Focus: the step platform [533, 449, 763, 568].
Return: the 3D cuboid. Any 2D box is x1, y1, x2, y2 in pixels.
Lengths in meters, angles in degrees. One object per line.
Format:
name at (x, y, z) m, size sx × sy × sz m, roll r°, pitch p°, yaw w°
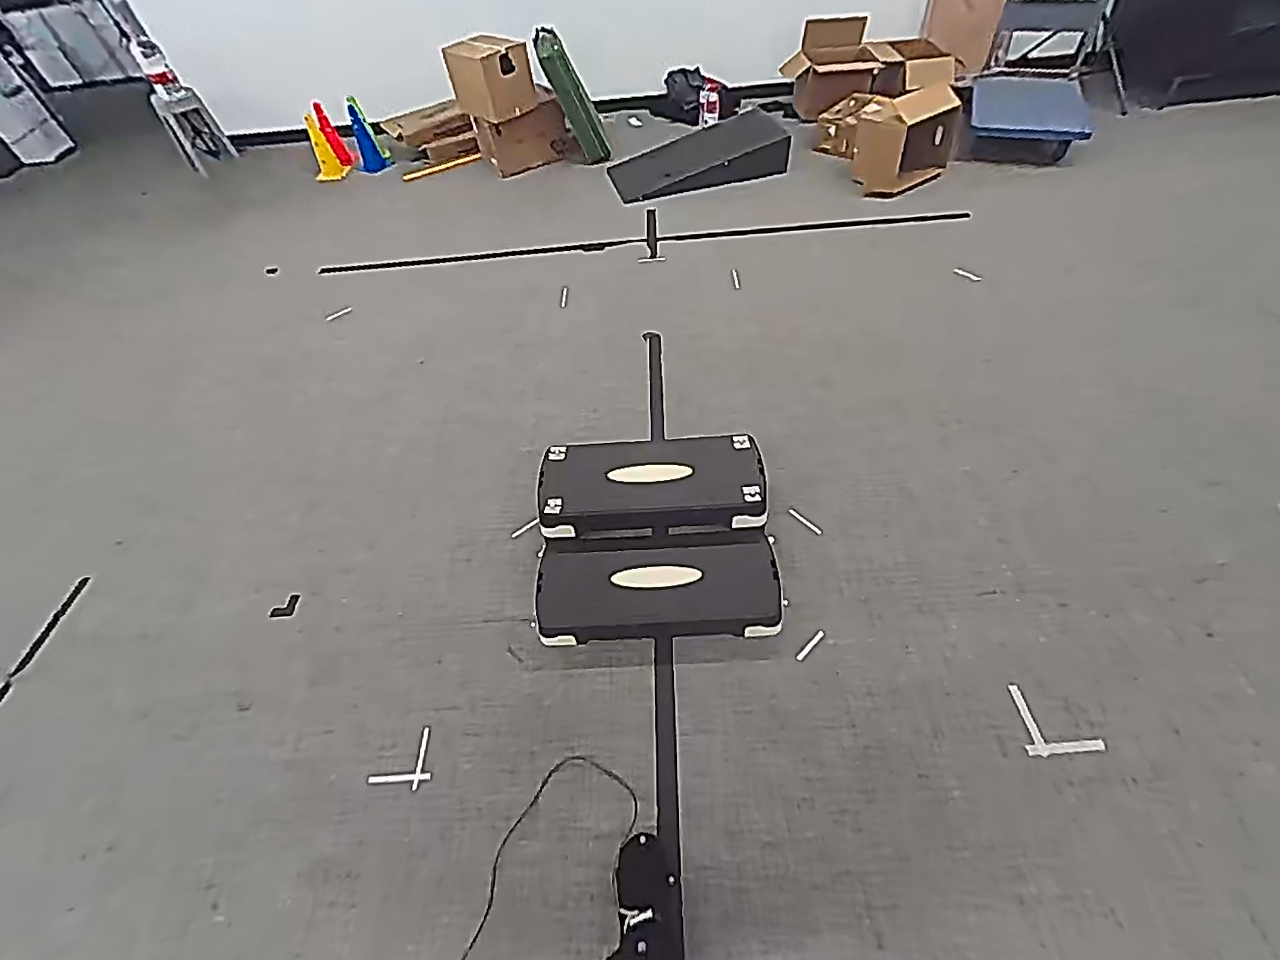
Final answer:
step platform at (0.022, 0.080, 1.646) m, size 0.684 × 0.204 × 0.286 m, roll -4°, pitch 51°, yaw 1°
